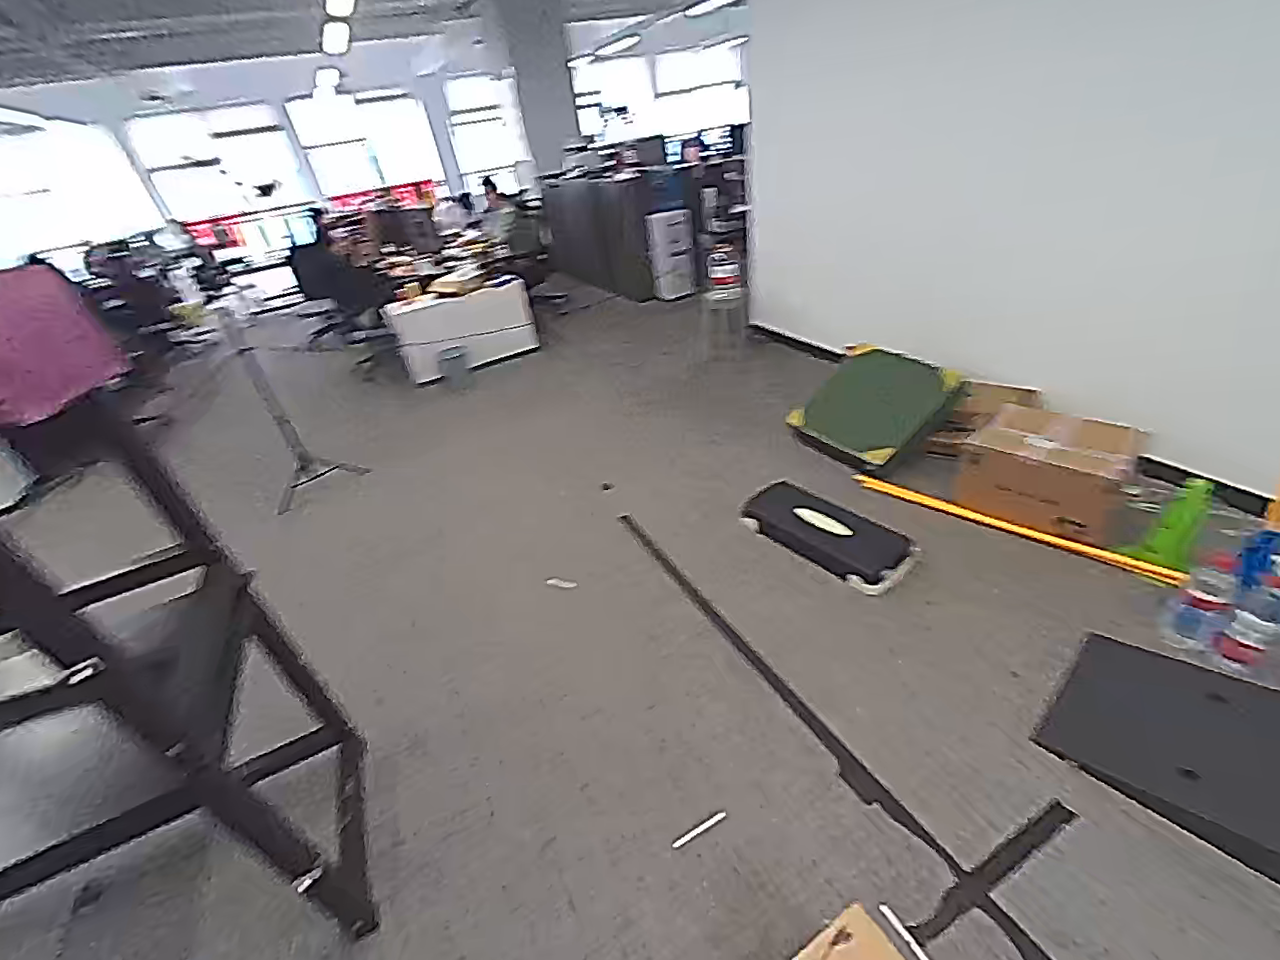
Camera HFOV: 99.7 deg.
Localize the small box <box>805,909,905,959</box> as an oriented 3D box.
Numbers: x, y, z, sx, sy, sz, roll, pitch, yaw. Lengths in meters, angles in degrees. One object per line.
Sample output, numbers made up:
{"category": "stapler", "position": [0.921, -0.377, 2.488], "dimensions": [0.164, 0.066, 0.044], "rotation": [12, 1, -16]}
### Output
{"category": "small box", "position": [0.381, 0.891, 0.913], "dimensions": [0.168, 0.176, 0.179], "rotation": [-23, 37, -21]}
